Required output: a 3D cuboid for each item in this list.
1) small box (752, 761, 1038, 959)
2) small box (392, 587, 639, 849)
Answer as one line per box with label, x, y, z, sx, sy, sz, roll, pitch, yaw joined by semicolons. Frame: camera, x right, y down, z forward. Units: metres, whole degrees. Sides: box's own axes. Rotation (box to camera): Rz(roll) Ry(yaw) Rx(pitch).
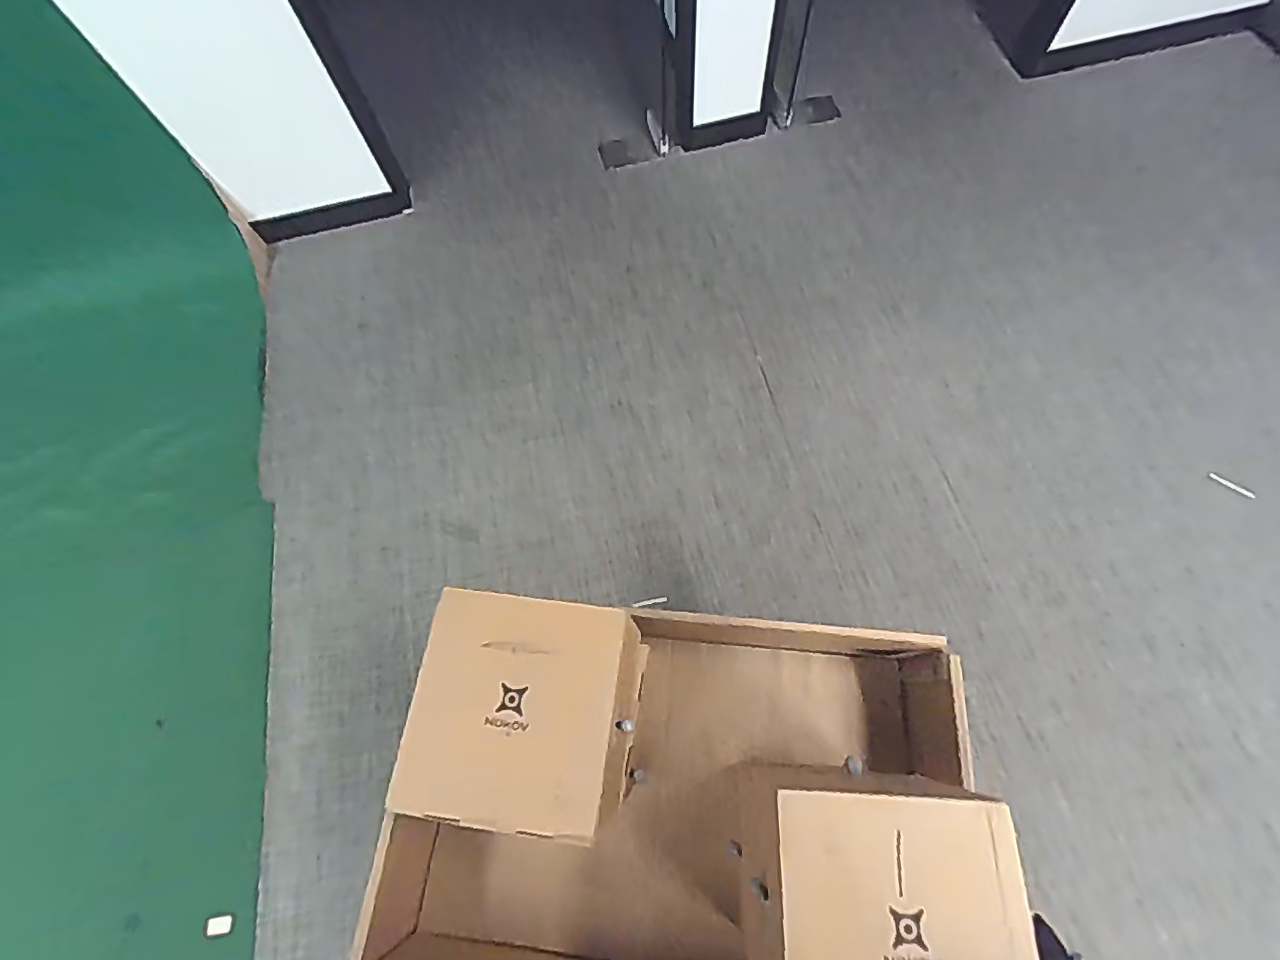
small box;0.185;0.337;0.437;0.168;0.176;0.179;1;67;4
small box;-0.095;0.212;0.510;0.168;0.176;0.179;6;68;6
